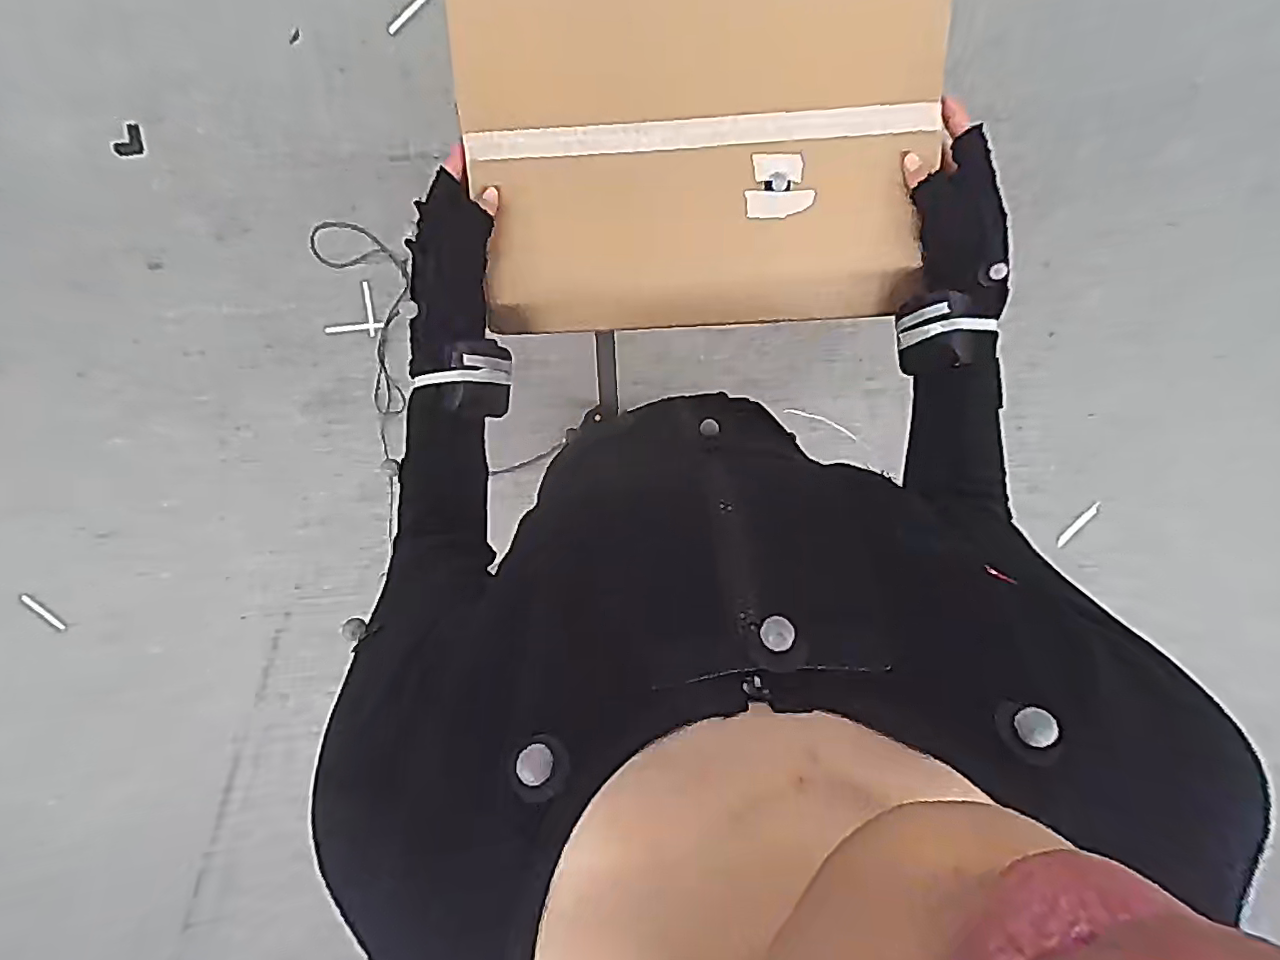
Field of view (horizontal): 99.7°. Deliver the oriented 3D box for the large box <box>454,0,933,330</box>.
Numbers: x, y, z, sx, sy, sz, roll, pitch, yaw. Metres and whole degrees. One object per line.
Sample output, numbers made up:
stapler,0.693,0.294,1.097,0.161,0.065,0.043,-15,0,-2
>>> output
large box,0.049,-0.347,0.618,0.408,0.320,0.320,-3,107,1
